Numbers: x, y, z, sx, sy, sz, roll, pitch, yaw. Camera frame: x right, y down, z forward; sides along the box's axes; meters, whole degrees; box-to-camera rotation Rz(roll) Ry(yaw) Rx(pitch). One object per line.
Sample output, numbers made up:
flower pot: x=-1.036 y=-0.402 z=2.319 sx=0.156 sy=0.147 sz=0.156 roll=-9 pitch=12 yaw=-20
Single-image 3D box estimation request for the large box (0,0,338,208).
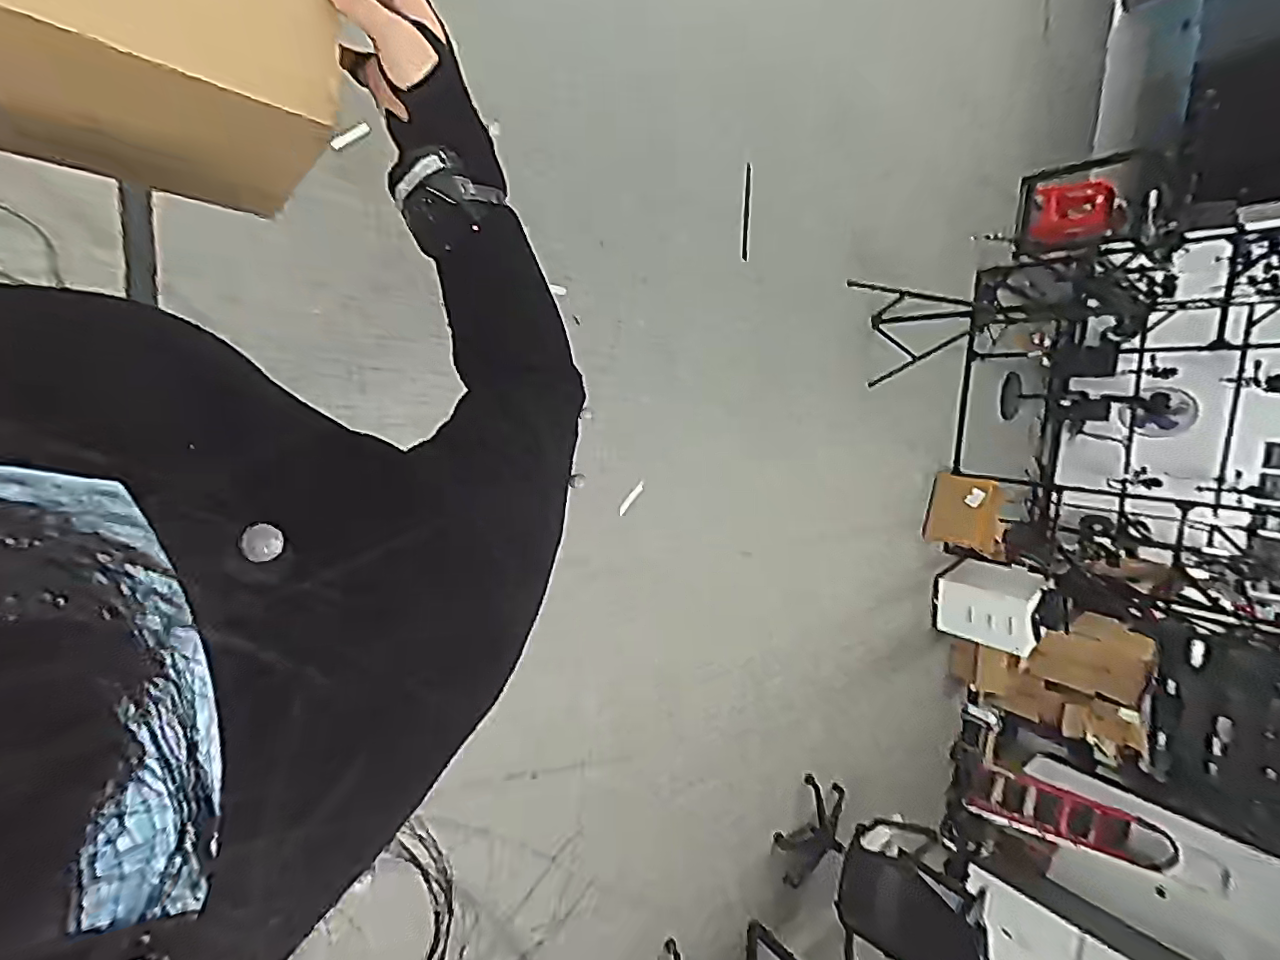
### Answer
large box: x=-0.467 y=-0.432 z=0.373 sx=0.408 sy=0.320 sz=0.320 roll=-2 pitch=98 yaw=-41
